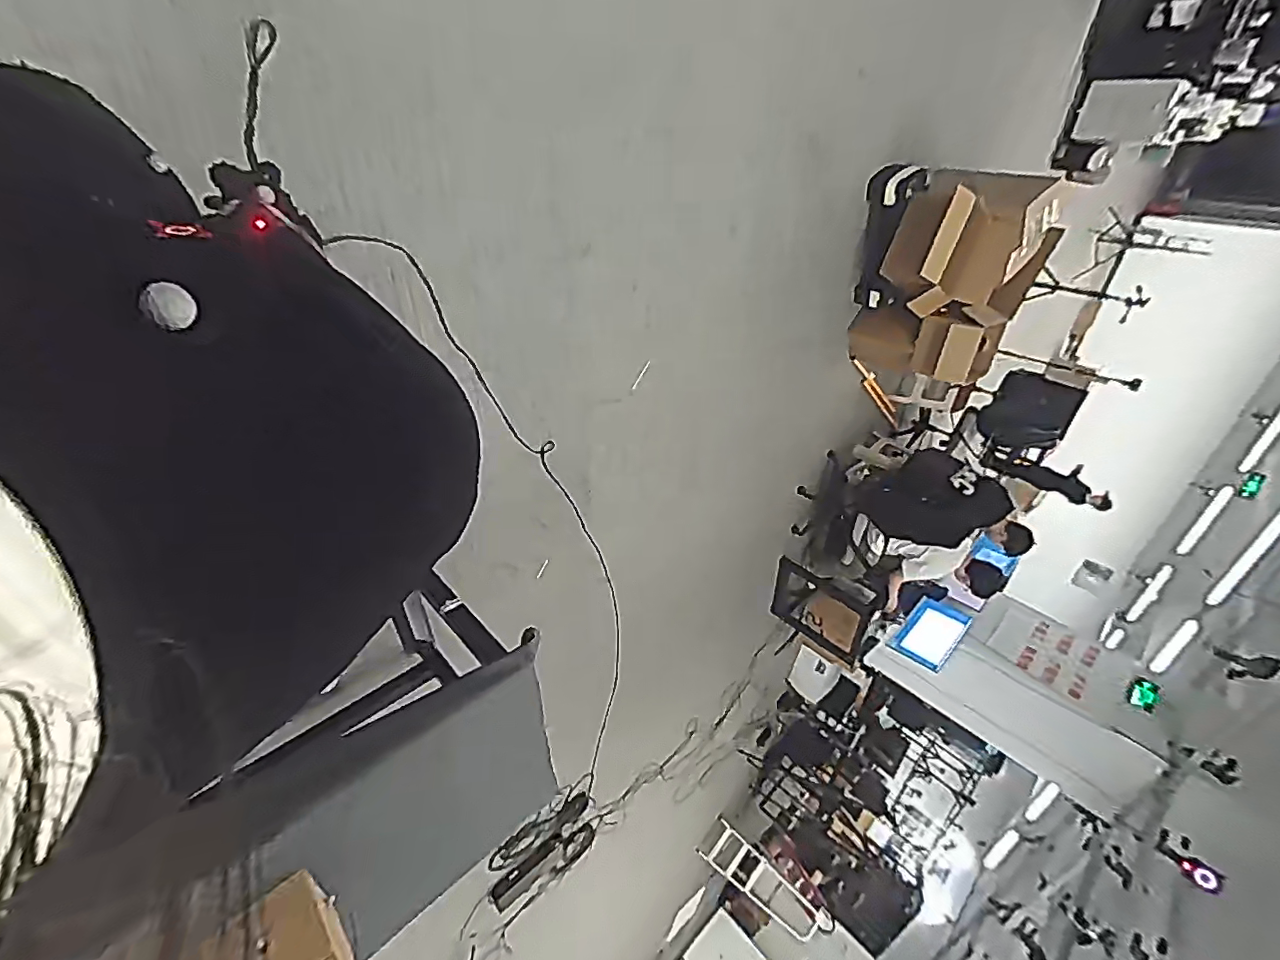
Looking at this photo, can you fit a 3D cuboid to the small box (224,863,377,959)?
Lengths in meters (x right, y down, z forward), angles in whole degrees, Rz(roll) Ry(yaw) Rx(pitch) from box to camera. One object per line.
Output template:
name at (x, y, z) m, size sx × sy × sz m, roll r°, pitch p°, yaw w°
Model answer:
small box at (-0.595, 0.829, 0.954) m, size 0.168 × 0.176 × 0.179 m, roll -27°, pitch 133°, yaw -33°

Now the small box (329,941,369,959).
small box at (-0.489, 0.895, 0.846) m, size 0.179 × 0.176 × 0.168 m, roll -26°, pitch 133°, yaw -36°
